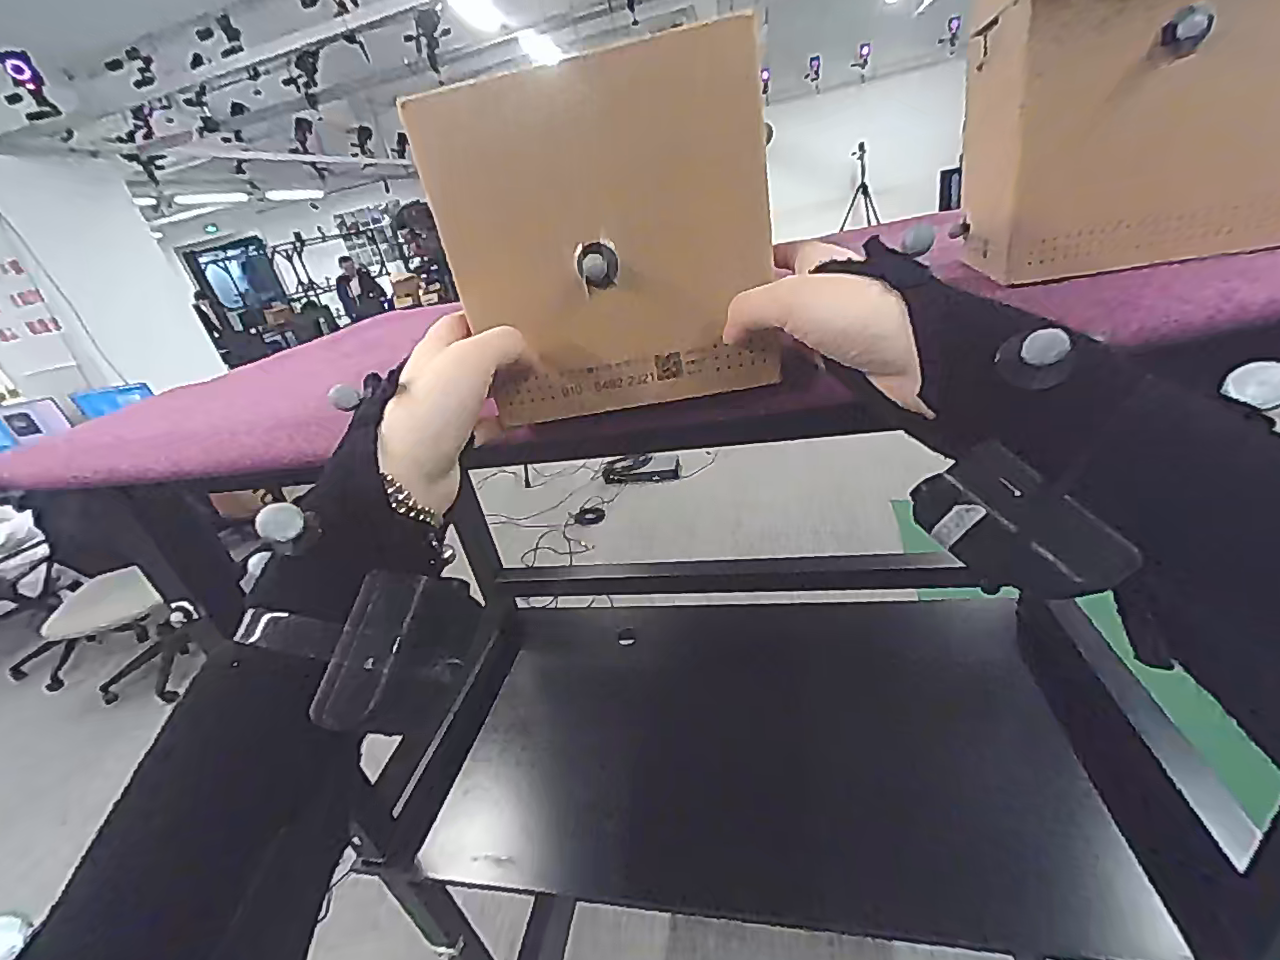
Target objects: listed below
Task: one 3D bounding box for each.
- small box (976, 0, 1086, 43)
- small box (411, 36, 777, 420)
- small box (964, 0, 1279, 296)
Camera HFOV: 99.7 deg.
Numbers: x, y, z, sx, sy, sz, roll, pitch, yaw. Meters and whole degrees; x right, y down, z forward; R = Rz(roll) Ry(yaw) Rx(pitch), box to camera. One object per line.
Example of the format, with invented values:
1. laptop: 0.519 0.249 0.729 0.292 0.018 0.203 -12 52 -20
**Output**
1. small box: 0.305 -0.372 0.300 0.179 0.176 0.168 -4 26 16
2. small box: -0.009 -0.145 0.351 0.168 0.176 0.179 -7 27 7
3. small box: 0.341 -0.235 0.381 0.179 0.176 0.168 -2 27 20
